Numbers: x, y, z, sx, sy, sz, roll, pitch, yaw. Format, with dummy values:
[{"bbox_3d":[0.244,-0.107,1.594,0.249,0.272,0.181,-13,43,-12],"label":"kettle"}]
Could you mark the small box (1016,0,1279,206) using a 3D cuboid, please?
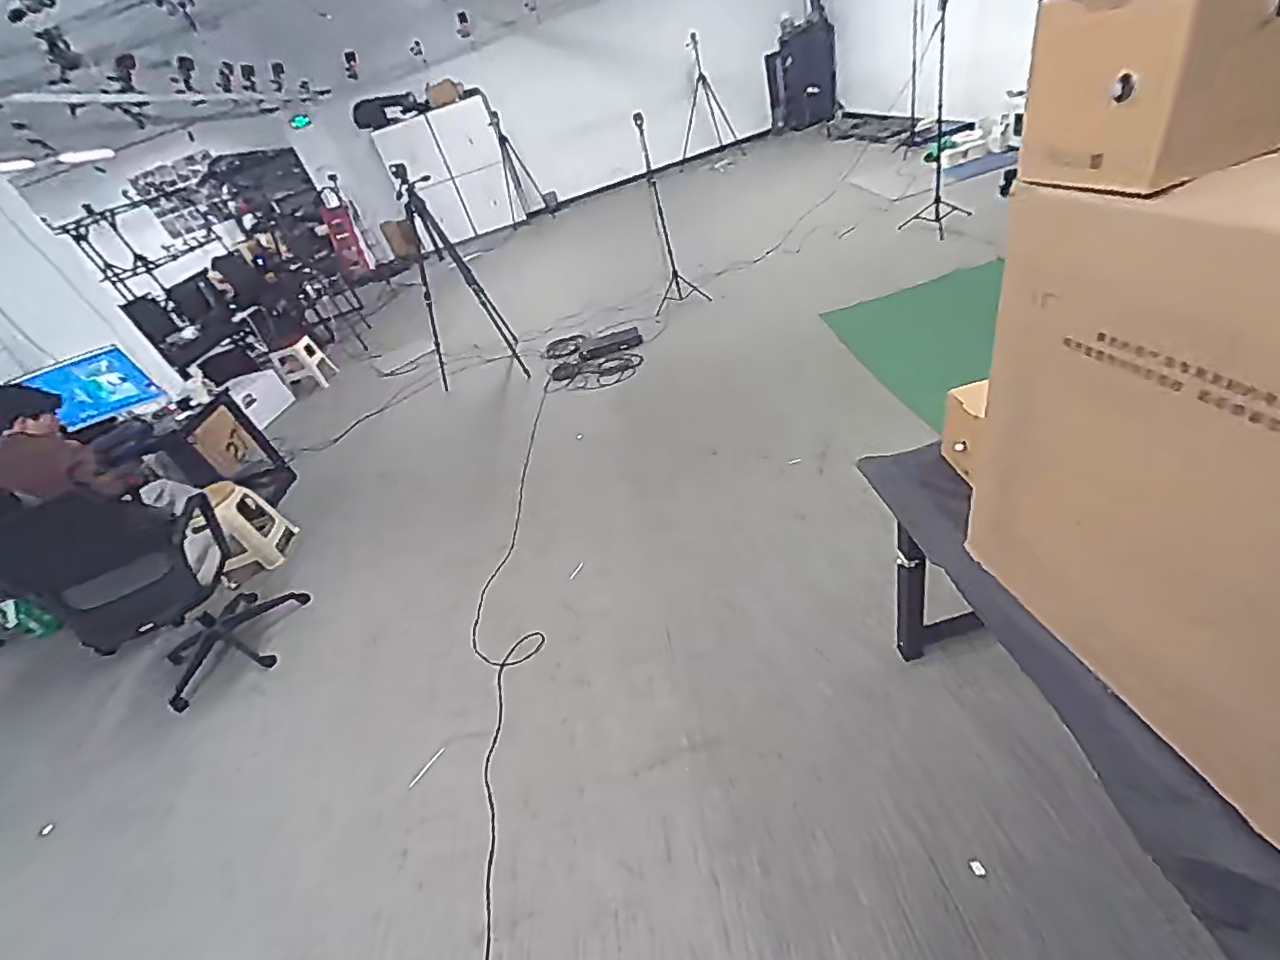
[{"bbox_3d":[0.508,-0.390,0.532,0.179,0.176,0.168,-19,36,1],"label":"small box"}]
